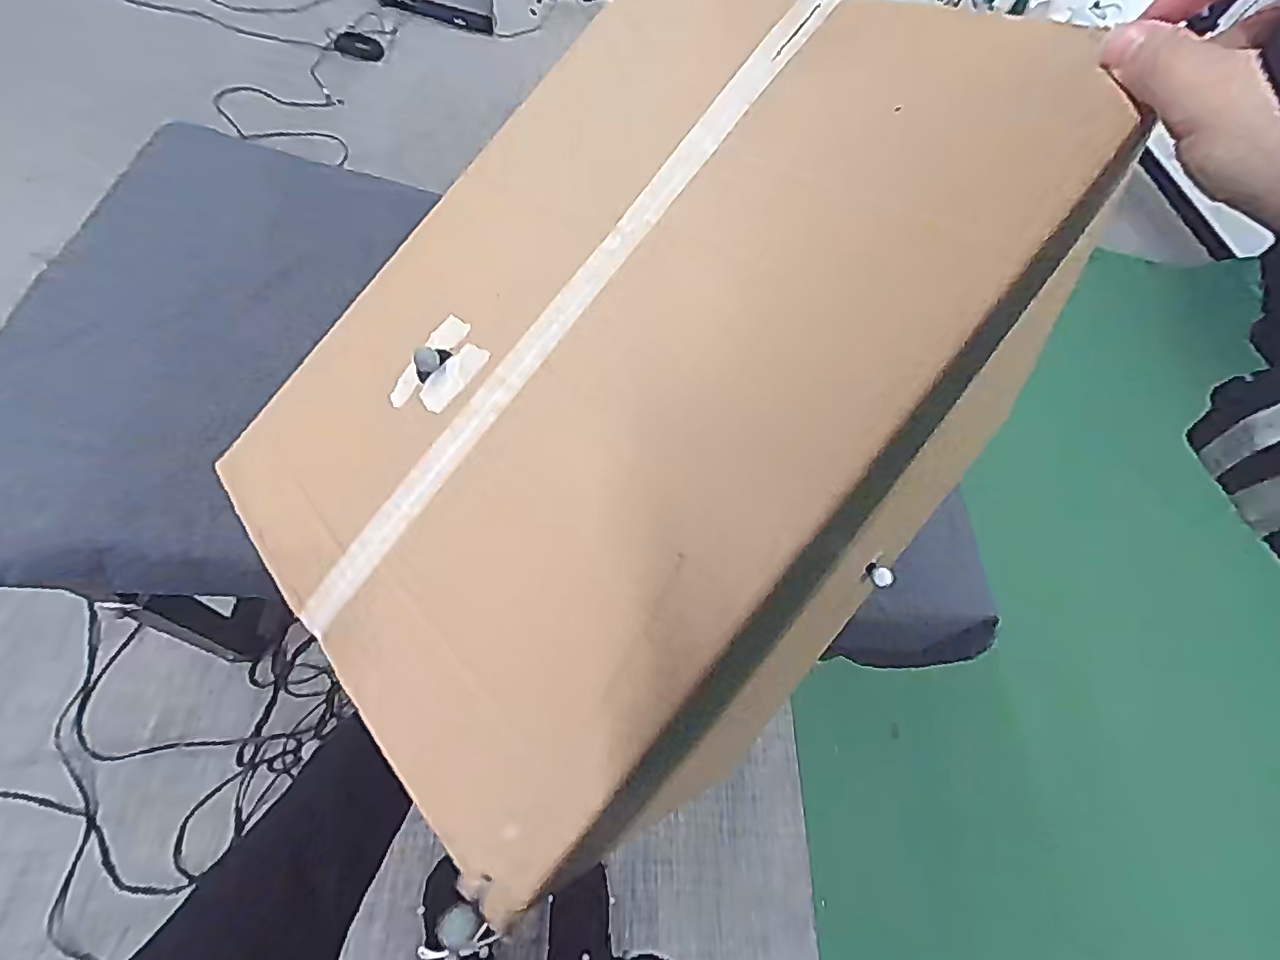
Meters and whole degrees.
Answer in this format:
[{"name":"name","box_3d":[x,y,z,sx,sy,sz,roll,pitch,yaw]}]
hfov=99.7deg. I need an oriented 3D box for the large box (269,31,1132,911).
[{"name":"large box","box_3d":[0.038,-0.023,0.417,0.320,0.320,0.408,36,87,29]}]
